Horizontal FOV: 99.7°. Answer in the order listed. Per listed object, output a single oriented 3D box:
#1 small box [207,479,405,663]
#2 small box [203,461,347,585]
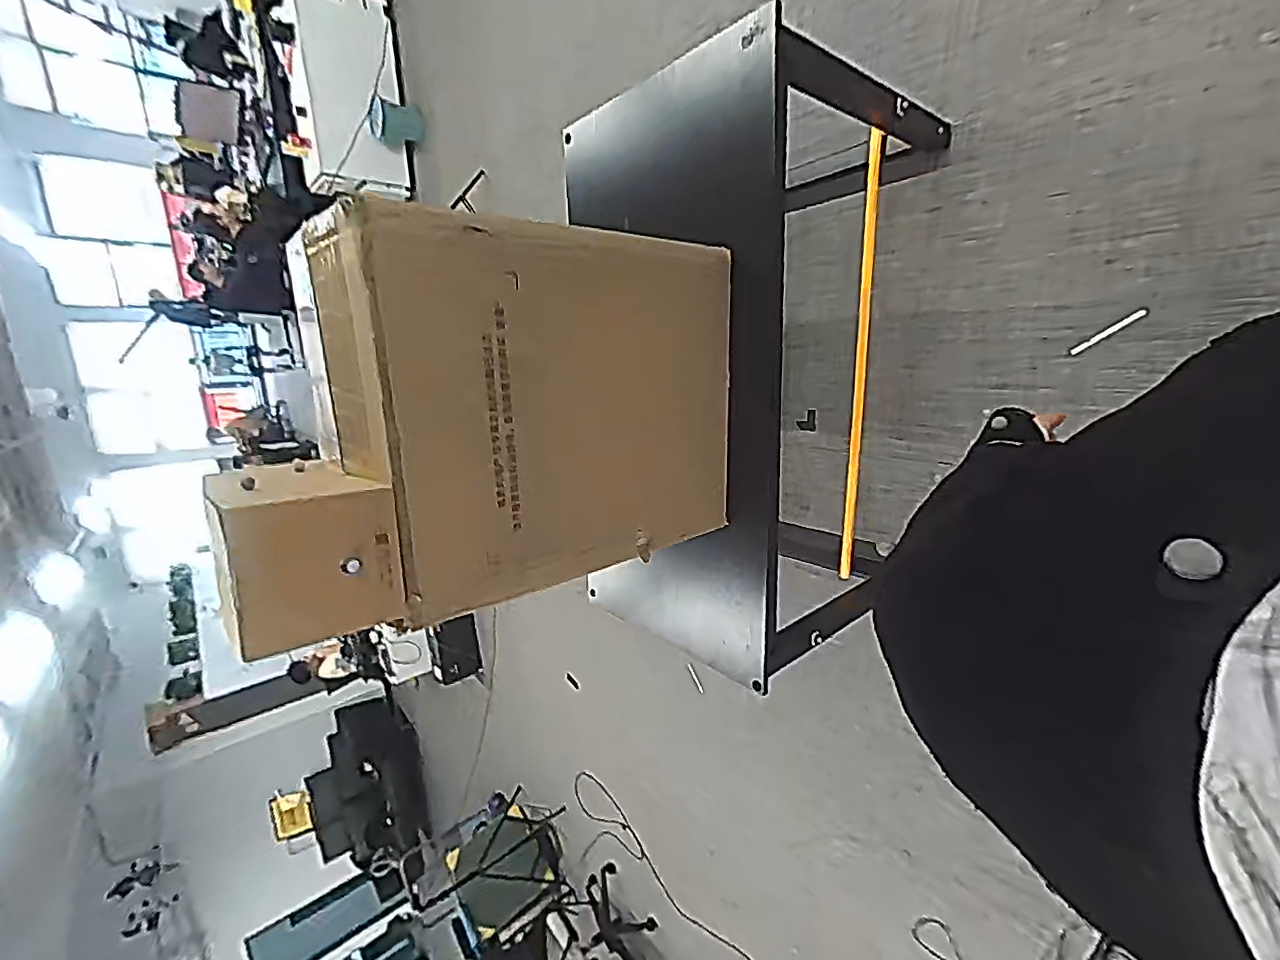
[{"bbox_3d":[-0.406,0.094,0.662,0.179,0.176,0.168,7,103,46],"label":"small box"},{"bbox_3d":[-0.524,0.077,0.800,0.168,0.176,0.179,14,109,50],"label":"small box"}]
